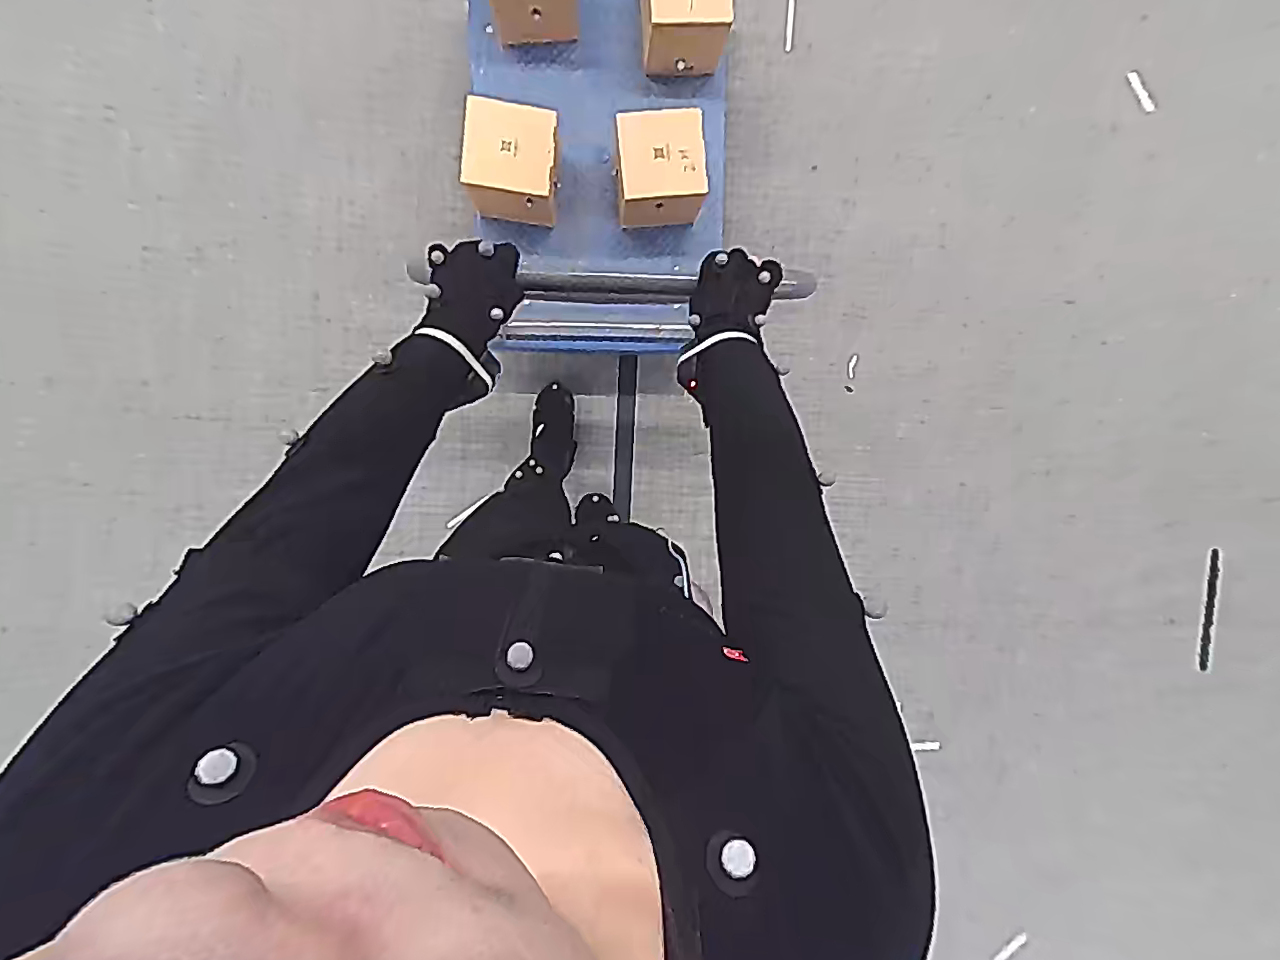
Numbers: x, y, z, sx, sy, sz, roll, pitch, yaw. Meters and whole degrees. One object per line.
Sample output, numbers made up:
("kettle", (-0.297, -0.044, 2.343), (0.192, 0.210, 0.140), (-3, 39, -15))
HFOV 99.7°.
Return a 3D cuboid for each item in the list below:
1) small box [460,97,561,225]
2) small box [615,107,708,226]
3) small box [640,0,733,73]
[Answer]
("small box", (-0.264, -0.657, 1.133), (0.179, 0.176, 0.168), (6, 95, -7))
("small box", (0.040, -0.660, 1.158), (0.179, 0.176, 0.168), (-7, 97, -4))
("small box", (0.091, -0.992, 1.124), (0.168, 0.176, 0.179), (-5, 98, -4))
